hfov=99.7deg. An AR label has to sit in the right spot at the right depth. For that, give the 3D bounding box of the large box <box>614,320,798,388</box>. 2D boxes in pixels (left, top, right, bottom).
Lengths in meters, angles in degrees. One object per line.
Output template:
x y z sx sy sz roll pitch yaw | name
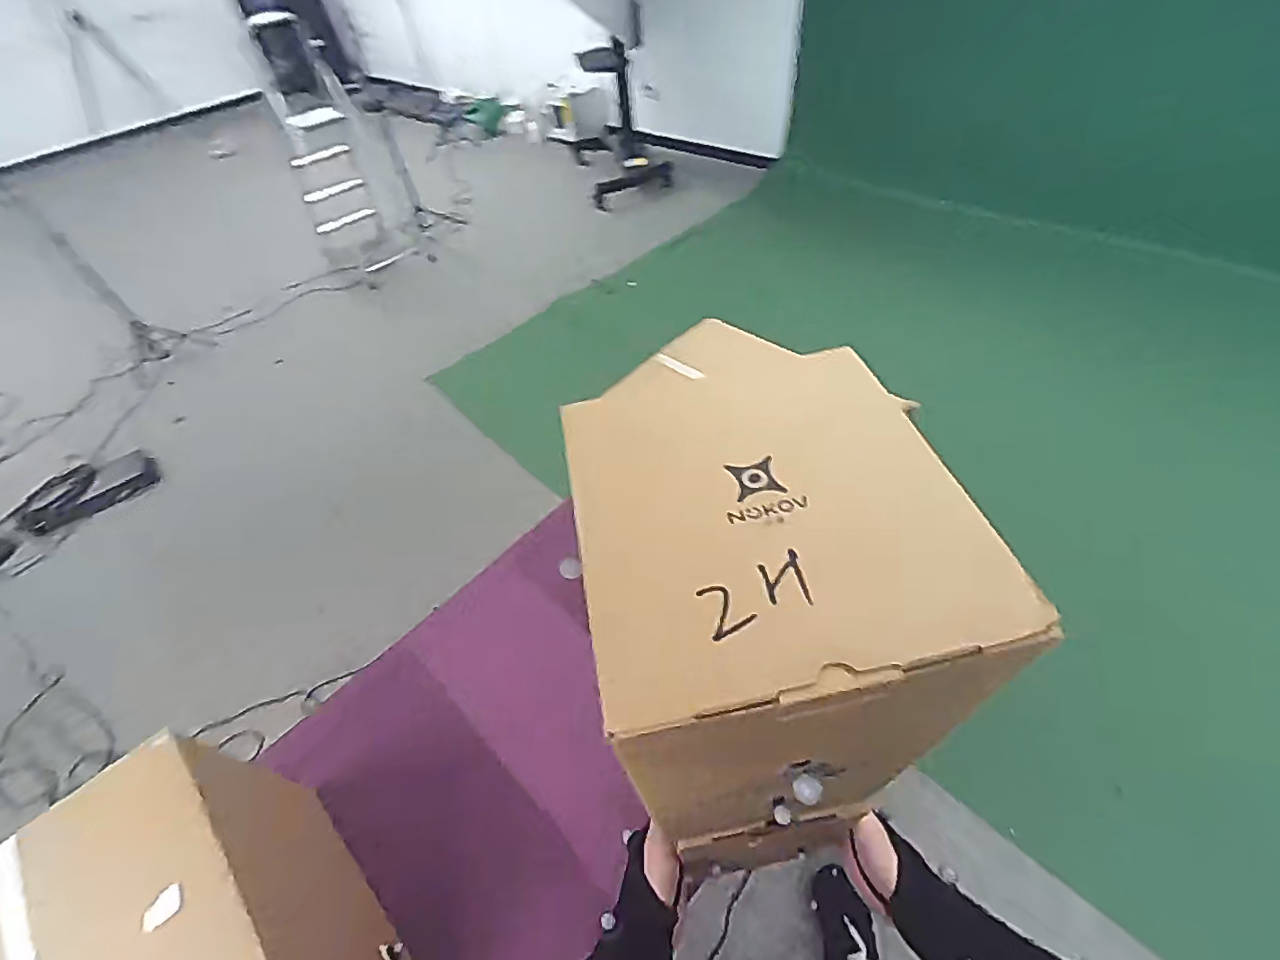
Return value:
0.184 -0.027 0.980 0.408 0.320 0.320 35 63 30 | large box

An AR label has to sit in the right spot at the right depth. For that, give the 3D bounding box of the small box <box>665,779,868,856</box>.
0.103 0.264 0.548 0.168 0.176 0.179 -9 50 -1 | small box

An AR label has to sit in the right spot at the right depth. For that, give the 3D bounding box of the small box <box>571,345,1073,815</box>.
0.063 0.057 0.296 0.168 0.176 0.179 -12 50 -1 | small box
